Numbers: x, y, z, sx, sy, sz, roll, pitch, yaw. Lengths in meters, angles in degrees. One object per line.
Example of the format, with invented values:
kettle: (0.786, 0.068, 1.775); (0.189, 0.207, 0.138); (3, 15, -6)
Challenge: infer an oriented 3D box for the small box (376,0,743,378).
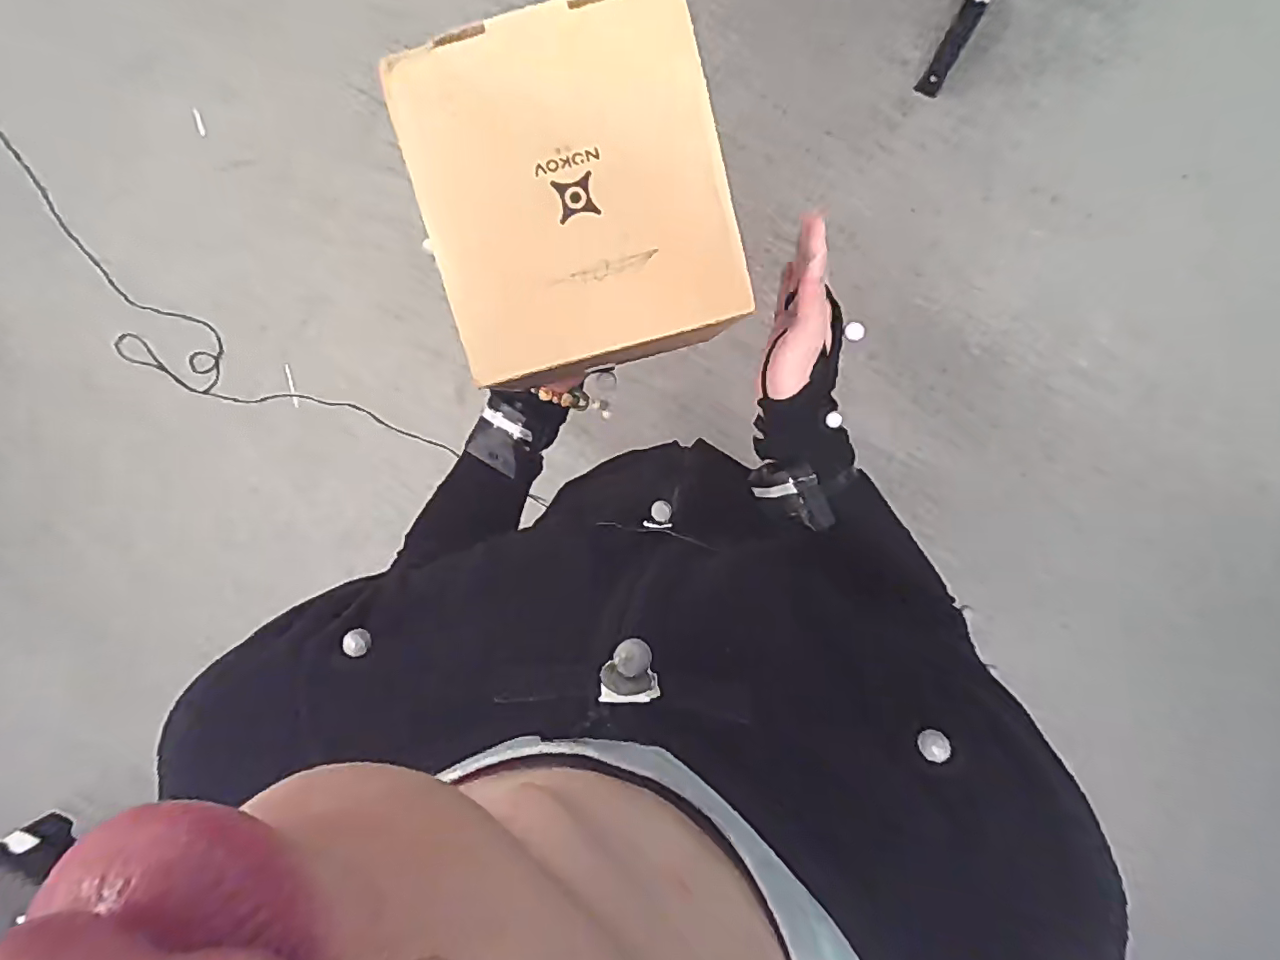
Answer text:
small box: (-0.043, -0.176, 0.373); (0.168, 0.176, 0.179); (-15, 99, 1)
